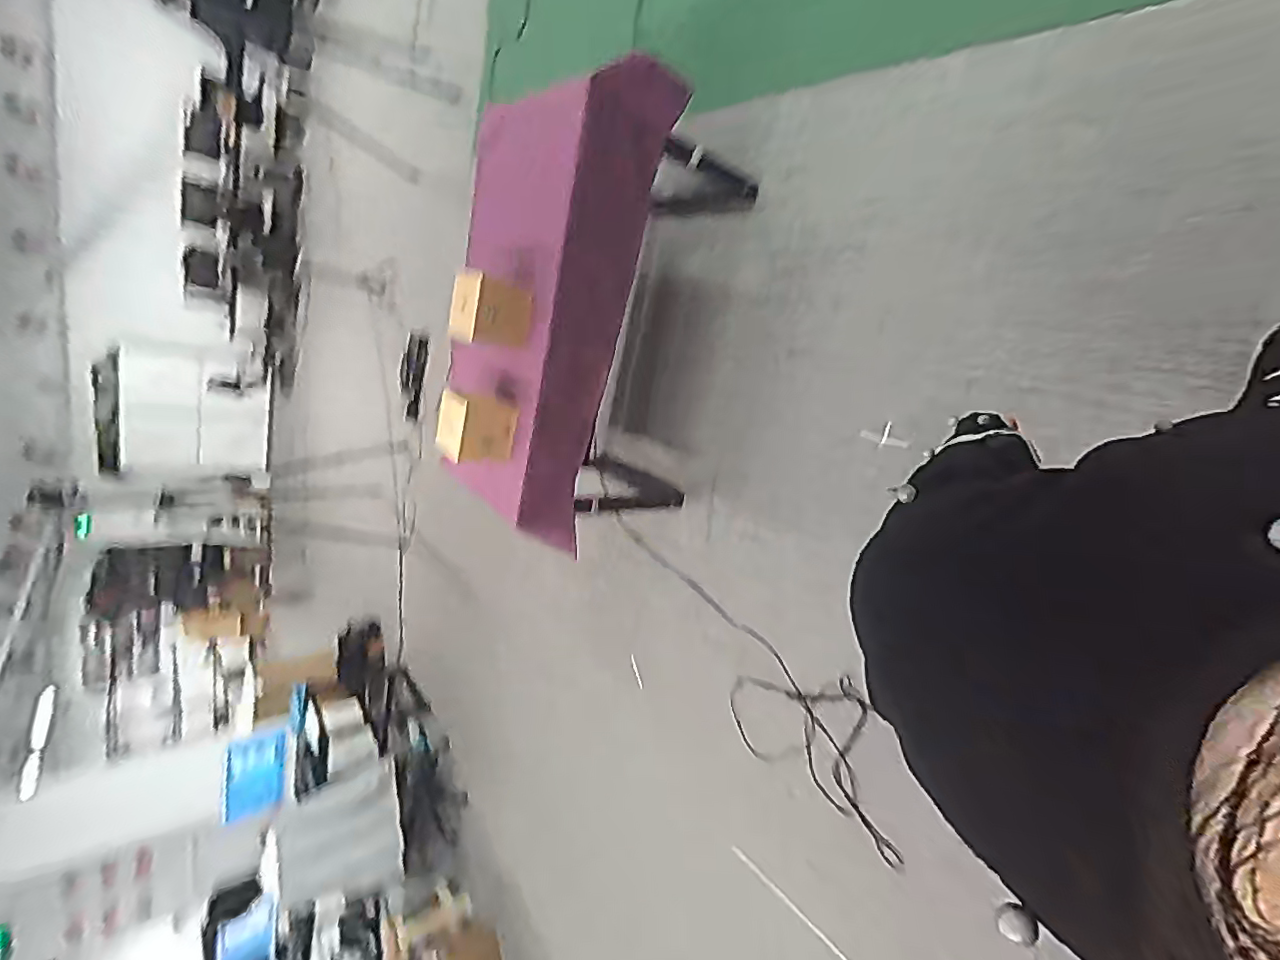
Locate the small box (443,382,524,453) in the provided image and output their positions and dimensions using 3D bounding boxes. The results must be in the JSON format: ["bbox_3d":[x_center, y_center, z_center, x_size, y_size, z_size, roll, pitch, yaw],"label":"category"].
[{"bbox_3d":[-0.470,-0.186,1.626,0.179,0.176,0.168,33,114,44],"label":"small box"}]

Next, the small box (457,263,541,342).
[{"bbox_3d":[-0.402,-0.505,1.551,0.168,0.176,0.179,30,111,44],"label":"small box"}]
